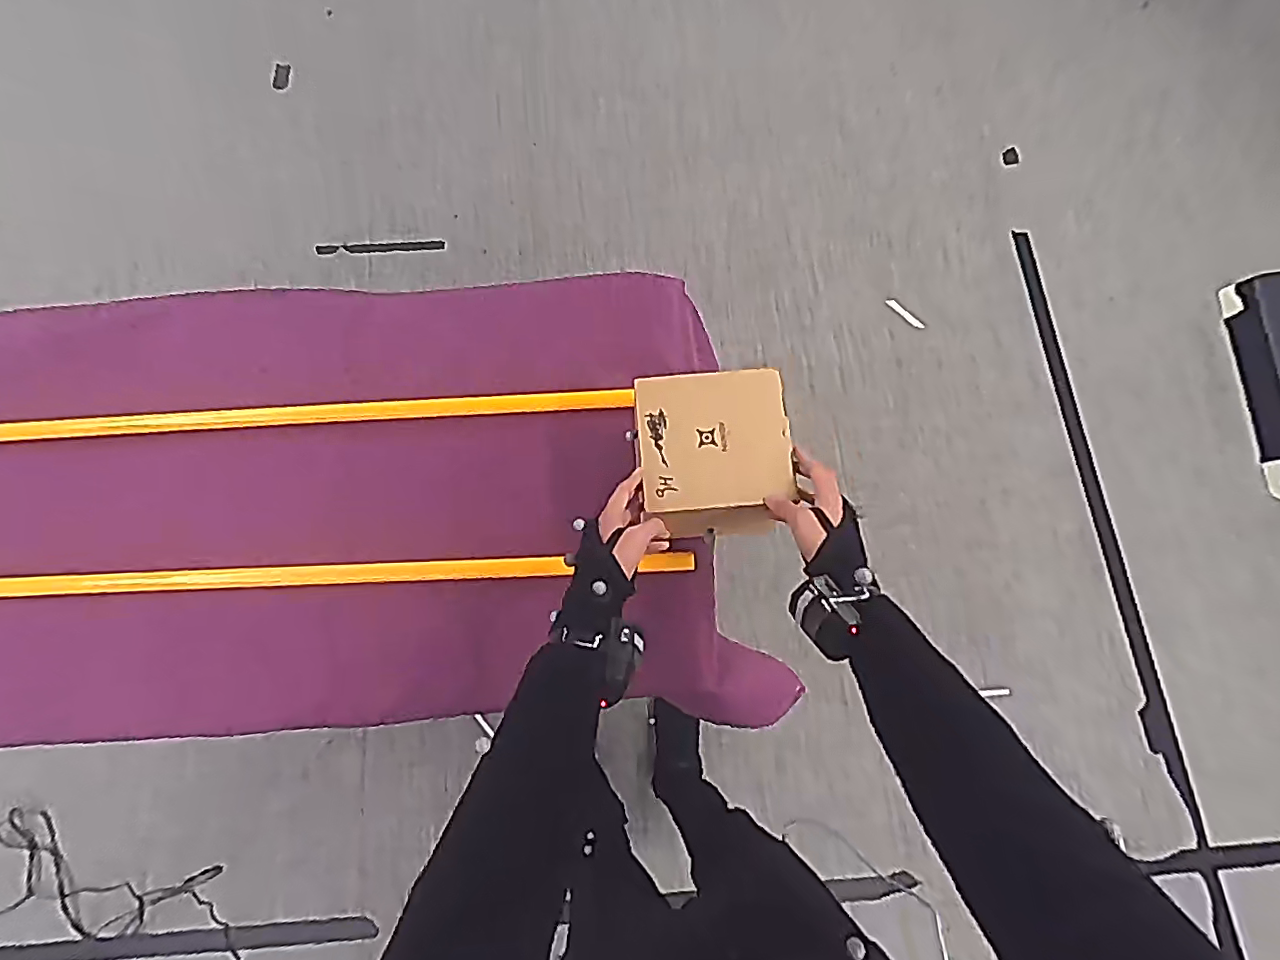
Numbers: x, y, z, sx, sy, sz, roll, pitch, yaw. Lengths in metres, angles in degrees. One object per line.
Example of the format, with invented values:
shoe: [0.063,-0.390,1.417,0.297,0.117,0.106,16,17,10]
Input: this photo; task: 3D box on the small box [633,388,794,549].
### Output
small box: [0.082,-0.007,0.702,0.179,0.176,0.168,-4,74,-1]
